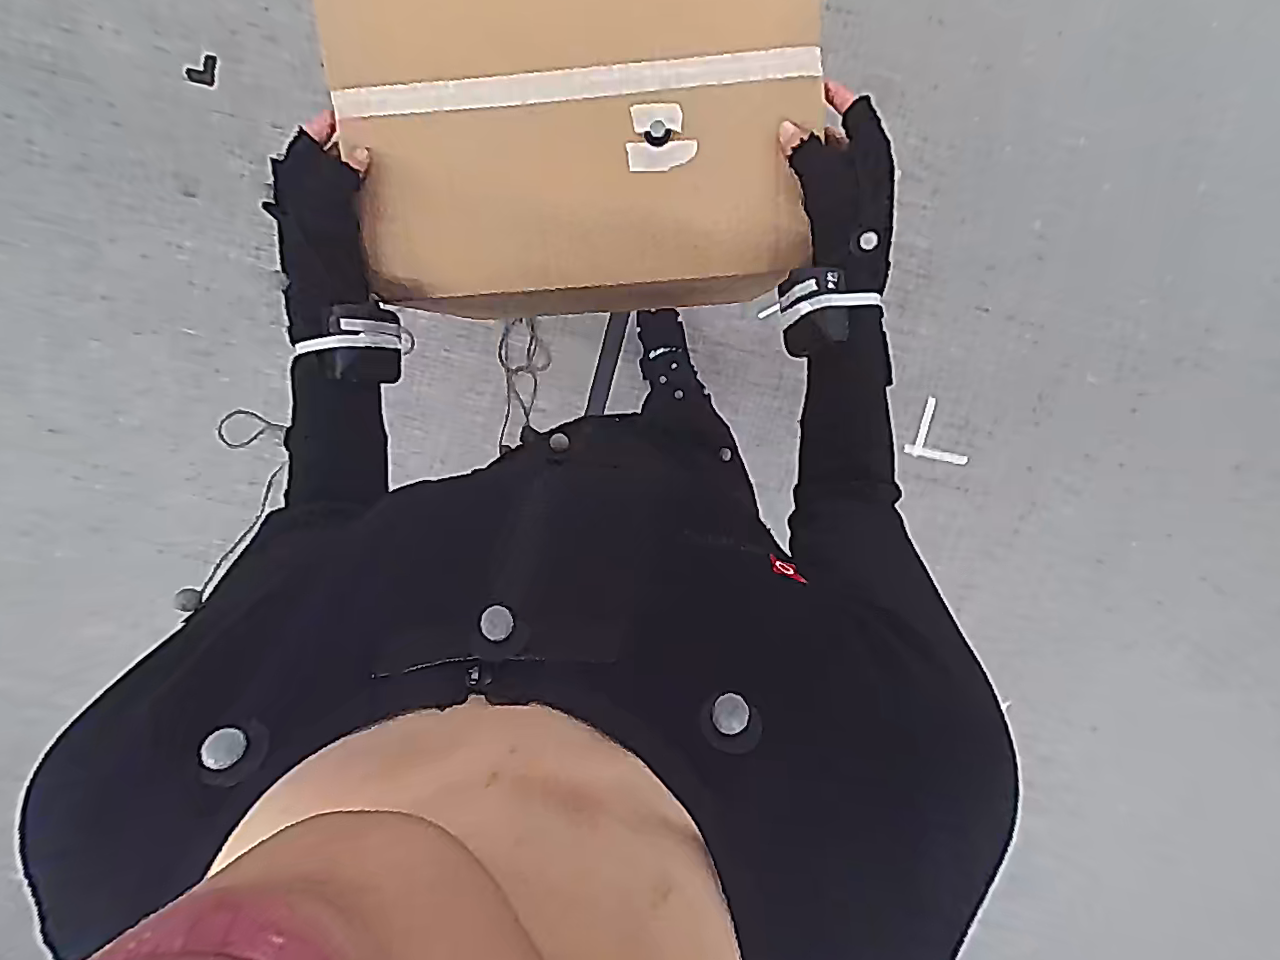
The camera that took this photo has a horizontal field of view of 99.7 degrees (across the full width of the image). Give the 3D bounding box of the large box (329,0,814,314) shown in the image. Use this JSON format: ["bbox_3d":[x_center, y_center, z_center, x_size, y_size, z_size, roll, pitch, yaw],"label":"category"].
[{"bbox_3d":[-0.054,-0.374,0.604,0.408,0.320,0.320,-4,103,1],"label":"large box"}]
